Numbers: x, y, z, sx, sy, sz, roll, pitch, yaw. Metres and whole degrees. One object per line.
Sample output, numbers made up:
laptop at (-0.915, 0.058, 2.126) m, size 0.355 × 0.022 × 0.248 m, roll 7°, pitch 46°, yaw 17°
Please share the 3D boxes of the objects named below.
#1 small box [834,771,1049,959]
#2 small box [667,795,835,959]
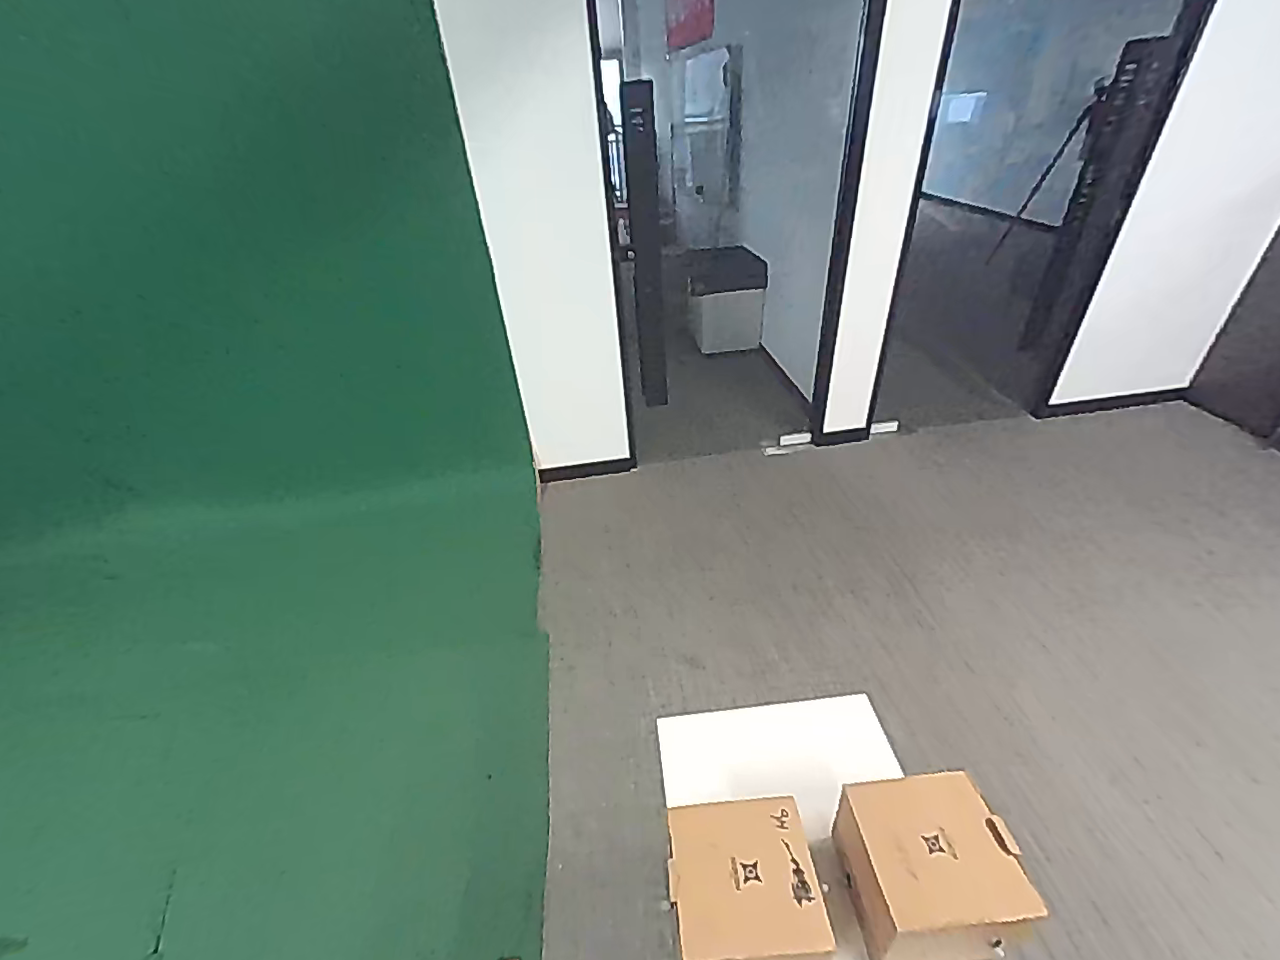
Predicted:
small box at (0.376, 0.515, 0.715) m, size 0.179 × 0.176 × 0.168 m, roll -7°, pitch 35°, yaw 0°
small box at (0.132, 0.540, 0.704) m, size 0.179 × 0.176 × 0.168 m, roll -4°, pitch 36°, yaw -1°
